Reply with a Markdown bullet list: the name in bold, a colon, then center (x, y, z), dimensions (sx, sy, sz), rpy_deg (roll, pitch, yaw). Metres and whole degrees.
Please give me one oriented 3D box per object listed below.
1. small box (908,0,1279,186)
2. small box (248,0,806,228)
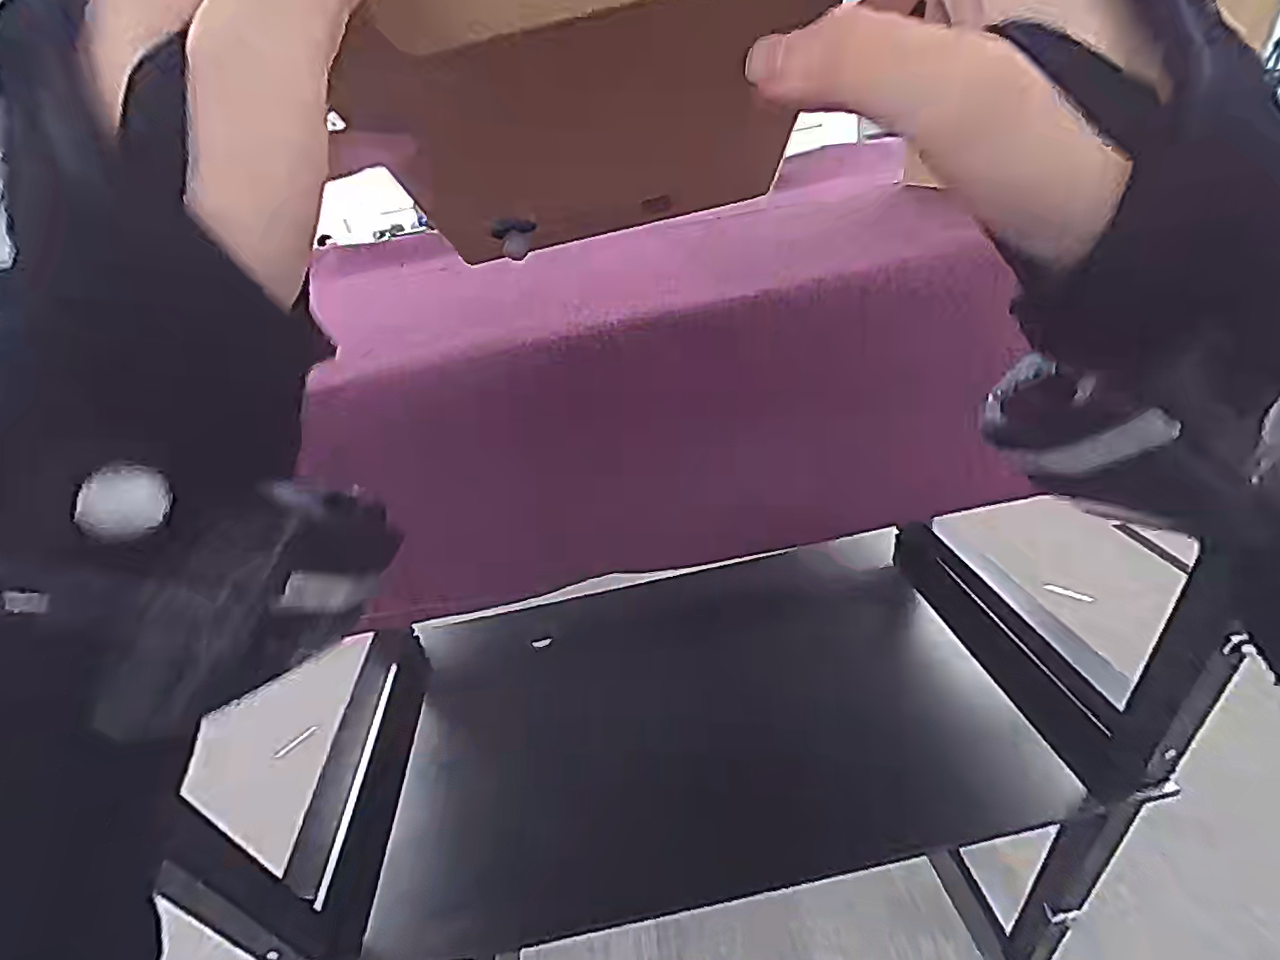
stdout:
- **small box**: center (0.333, -0.340, 0.426), dimensions (0.168, 0.176, 0.179), rpy_deg (-11, 31, 2)
- **small box**: center (-0.035, -0.220, 0.203), dimensions (0.168, 0.179, 0.176), rpy_deg (-13, -2, 2)
